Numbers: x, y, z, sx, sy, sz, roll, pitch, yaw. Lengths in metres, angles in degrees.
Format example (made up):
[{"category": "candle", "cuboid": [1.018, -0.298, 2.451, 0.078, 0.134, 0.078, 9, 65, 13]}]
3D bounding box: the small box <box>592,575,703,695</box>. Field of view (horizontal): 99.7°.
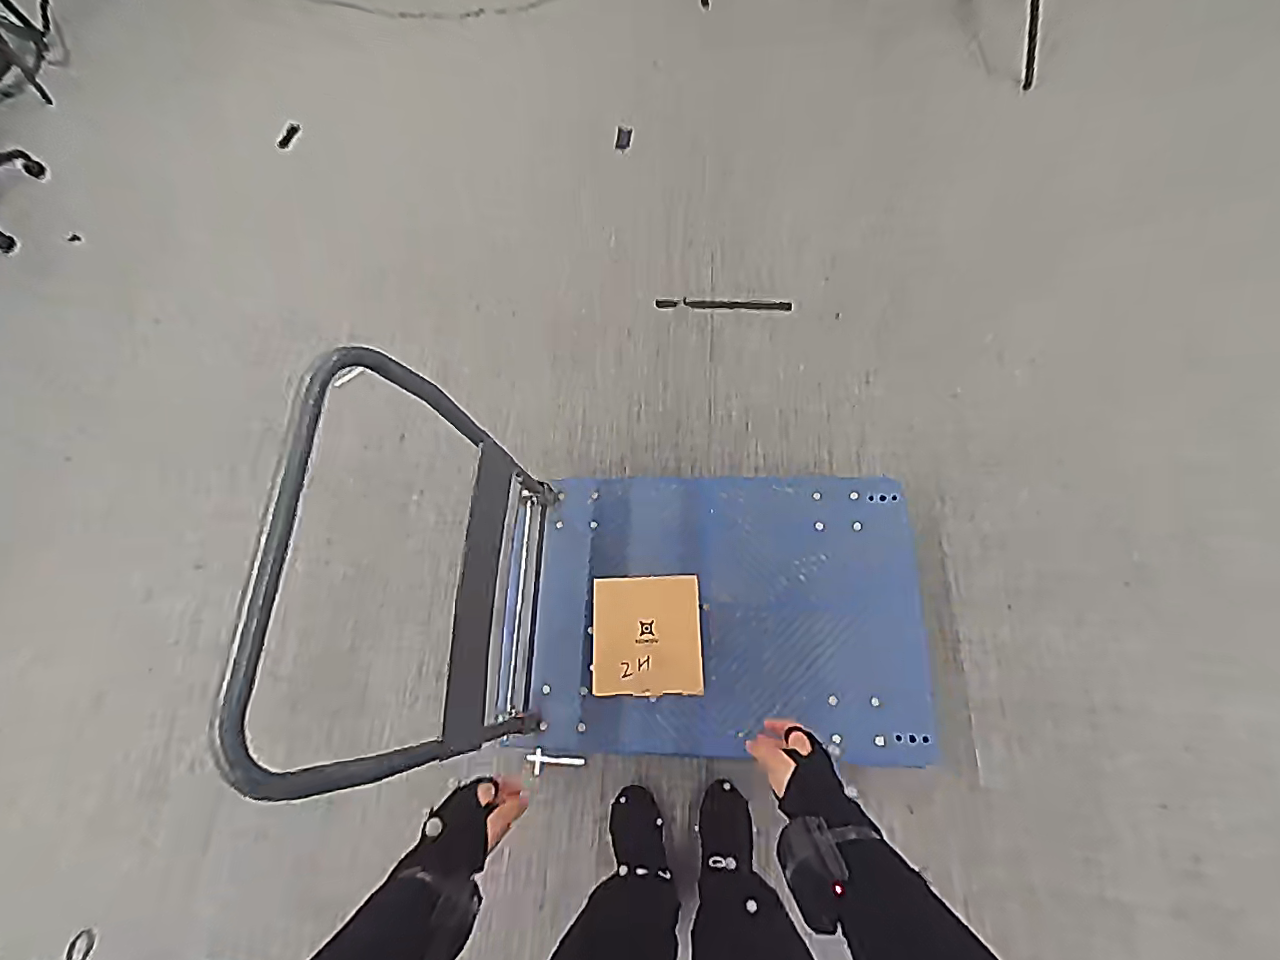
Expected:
[{"category": "small box", "cuboid": [0.016, 0.260, 0.898, 0.168, 0.176, 0.179, -3, 71, 5]}]
